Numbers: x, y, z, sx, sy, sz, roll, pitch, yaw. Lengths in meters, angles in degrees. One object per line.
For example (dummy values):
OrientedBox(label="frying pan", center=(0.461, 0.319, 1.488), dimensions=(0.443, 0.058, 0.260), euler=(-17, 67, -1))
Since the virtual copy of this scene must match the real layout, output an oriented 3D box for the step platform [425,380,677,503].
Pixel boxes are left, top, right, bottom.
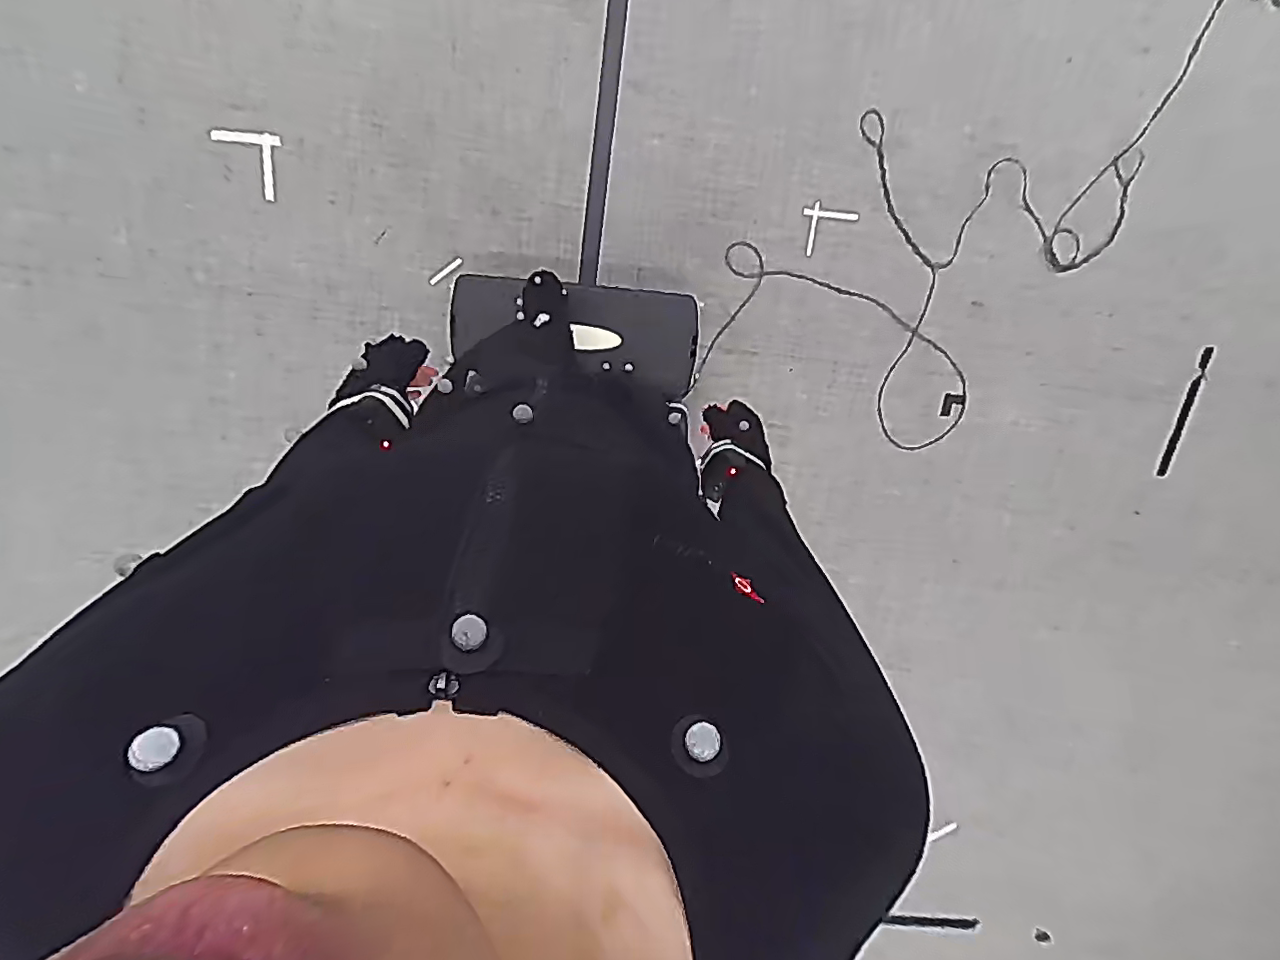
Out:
OrientedBox(label="step platform", center=(-0.237, -0.109, 1.514), dimensions=(0.684, 0.204, 0.286), euler=(5, 103, -2))
